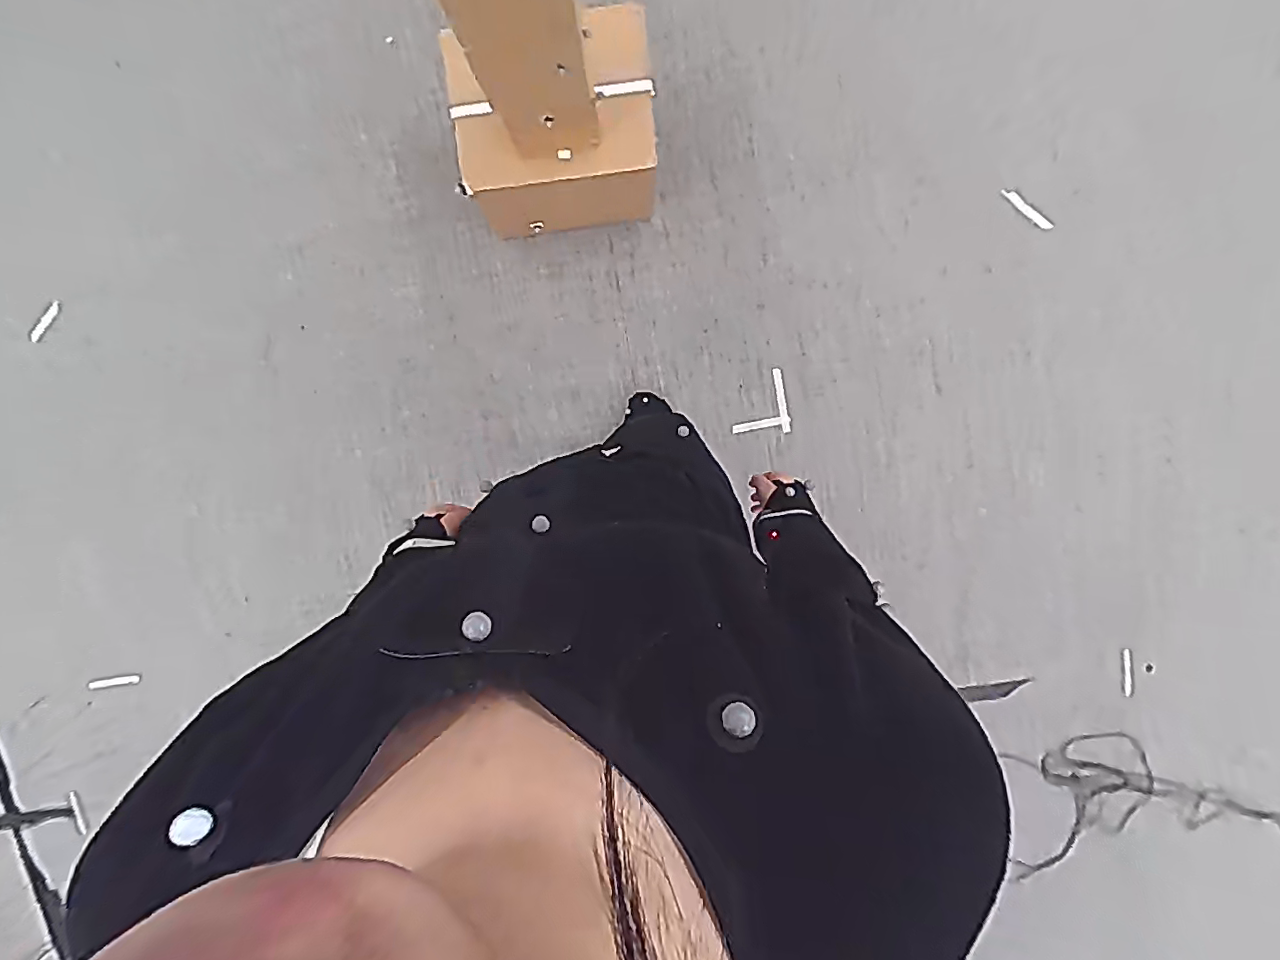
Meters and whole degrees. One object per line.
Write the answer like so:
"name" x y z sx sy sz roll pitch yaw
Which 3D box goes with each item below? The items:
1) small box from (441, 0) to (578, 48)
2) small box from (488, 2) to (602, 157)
"small box" -0.175 -0.695 0.688 0.179 0.176 0.168 -5 97 1
"small box" -0.172 -0.736 1.014 0.179 0.176 0.168 -9 98 0
